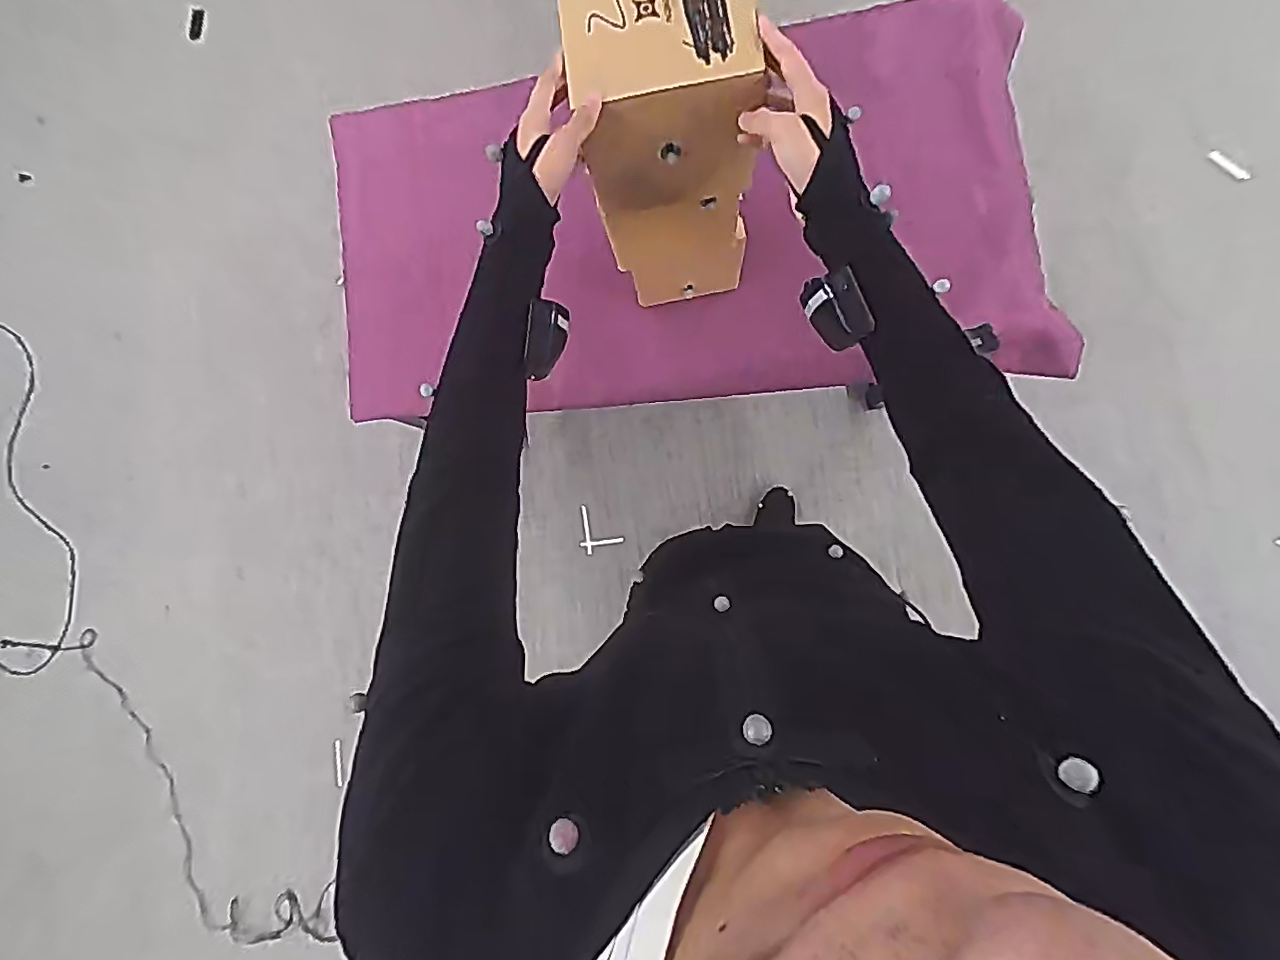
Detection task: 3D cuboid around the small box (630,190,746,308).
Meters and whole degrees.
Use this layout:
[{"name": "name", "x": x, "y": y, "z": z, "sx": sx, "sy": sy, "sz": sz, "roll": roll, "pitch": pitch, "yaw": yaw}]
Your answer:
[{"name": "small box", "x": 0.064, "y": -0.403, "z": 0.883, "sx": 0.179, "sy": 0.176, "sz": 0.168, "roll": -10, "pitch": 83, "yaw": 4}]

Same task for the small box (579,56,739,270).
[{"name": "small box", "x": 0.030, "y": -0.405, "z": 0.722, "sx": 0.179, "sy": 0.176, "sz": 0.168, "roll": -10, "pitch": 84, "yaw": 5}]
